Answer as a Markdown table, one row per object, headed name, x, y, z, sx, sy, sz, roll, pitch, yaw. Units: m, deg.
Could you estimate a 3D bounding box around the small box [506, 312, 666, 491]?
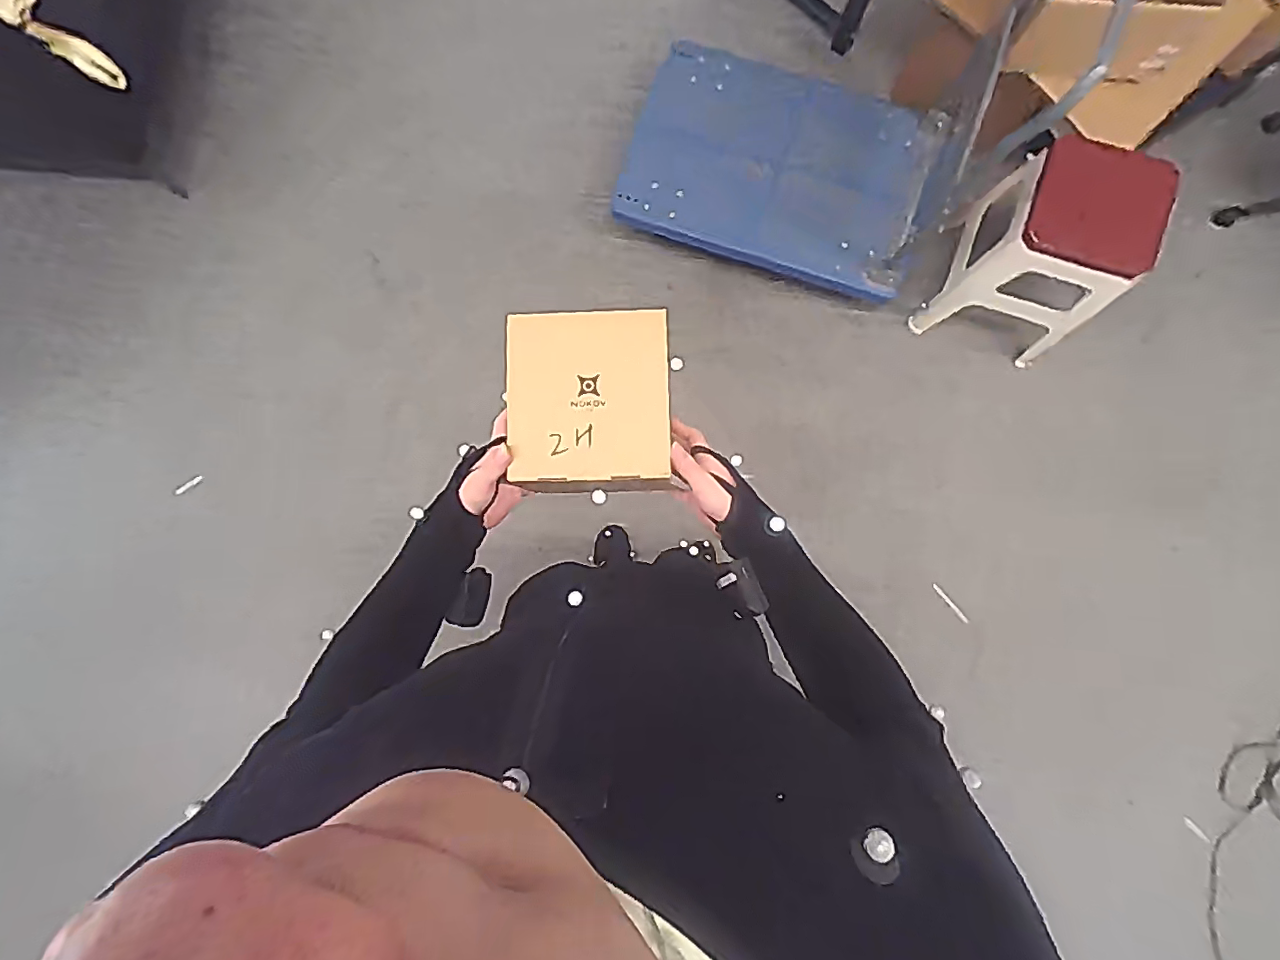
| name | x | y | z | sx | sy | sz | roll | pitch | yaw |
| --- | --- | --- | --- | --- | --- | --- | --- | --- | --- |
| small box | -0.055 | -0.081 | 0.637 | 0.168 | 0.176 | 0.179 | -1 | 85 | 1 |
